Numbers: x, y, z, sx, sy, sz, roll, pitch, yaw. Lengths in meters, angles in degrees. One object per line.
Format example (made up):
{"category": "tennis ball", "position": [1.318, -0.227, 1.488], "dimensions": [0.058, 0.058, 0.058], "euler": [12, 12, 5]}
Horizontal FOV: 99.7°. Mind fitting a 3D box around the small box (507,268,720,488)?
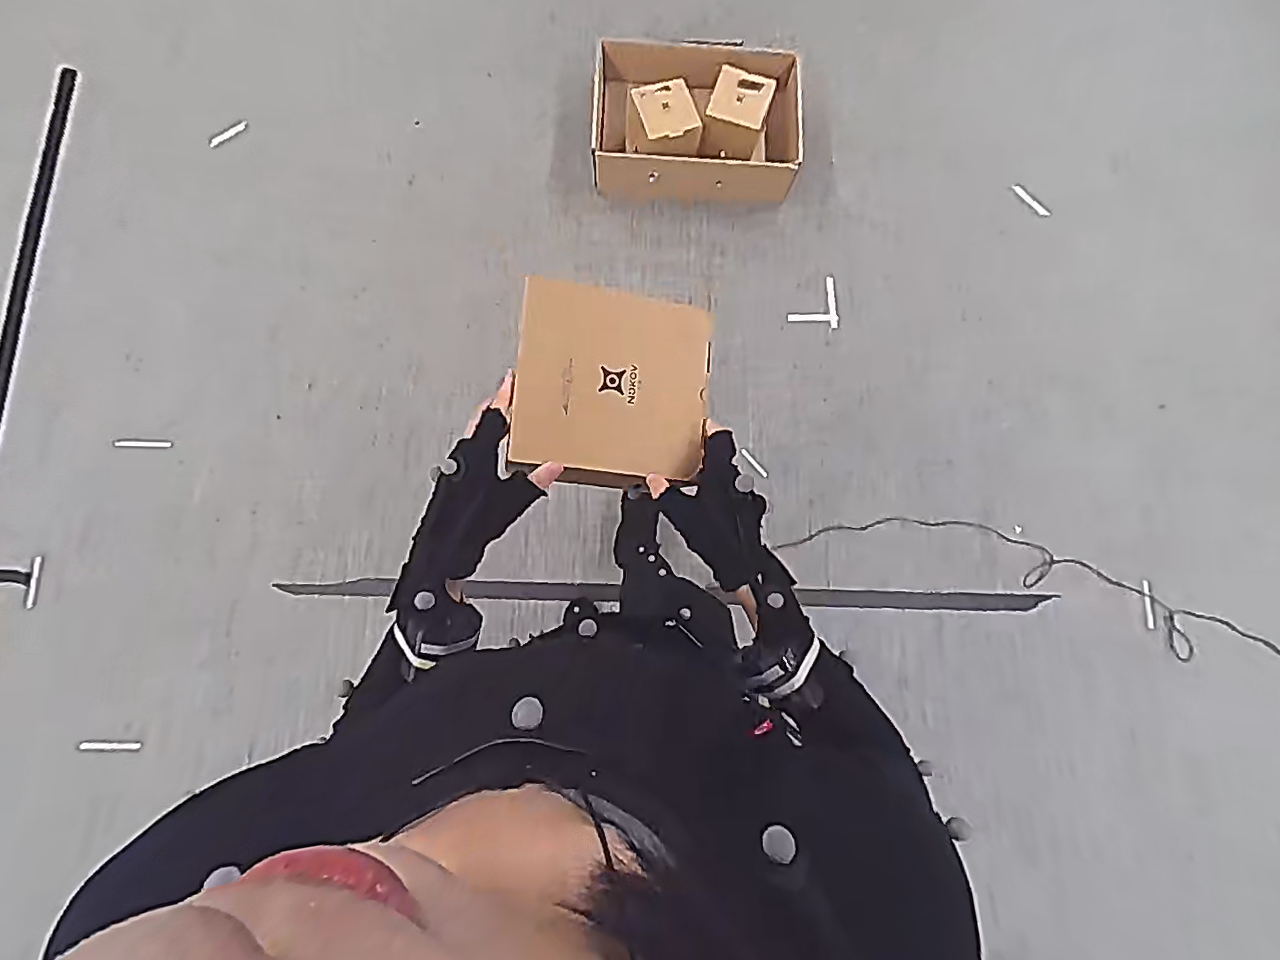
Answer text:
{"category": "small box", "position": [-0.036, -0.084, 0.545], "dimensions": [0.179, 0.176, 0.168], "euler": [6, 83, -14]}
